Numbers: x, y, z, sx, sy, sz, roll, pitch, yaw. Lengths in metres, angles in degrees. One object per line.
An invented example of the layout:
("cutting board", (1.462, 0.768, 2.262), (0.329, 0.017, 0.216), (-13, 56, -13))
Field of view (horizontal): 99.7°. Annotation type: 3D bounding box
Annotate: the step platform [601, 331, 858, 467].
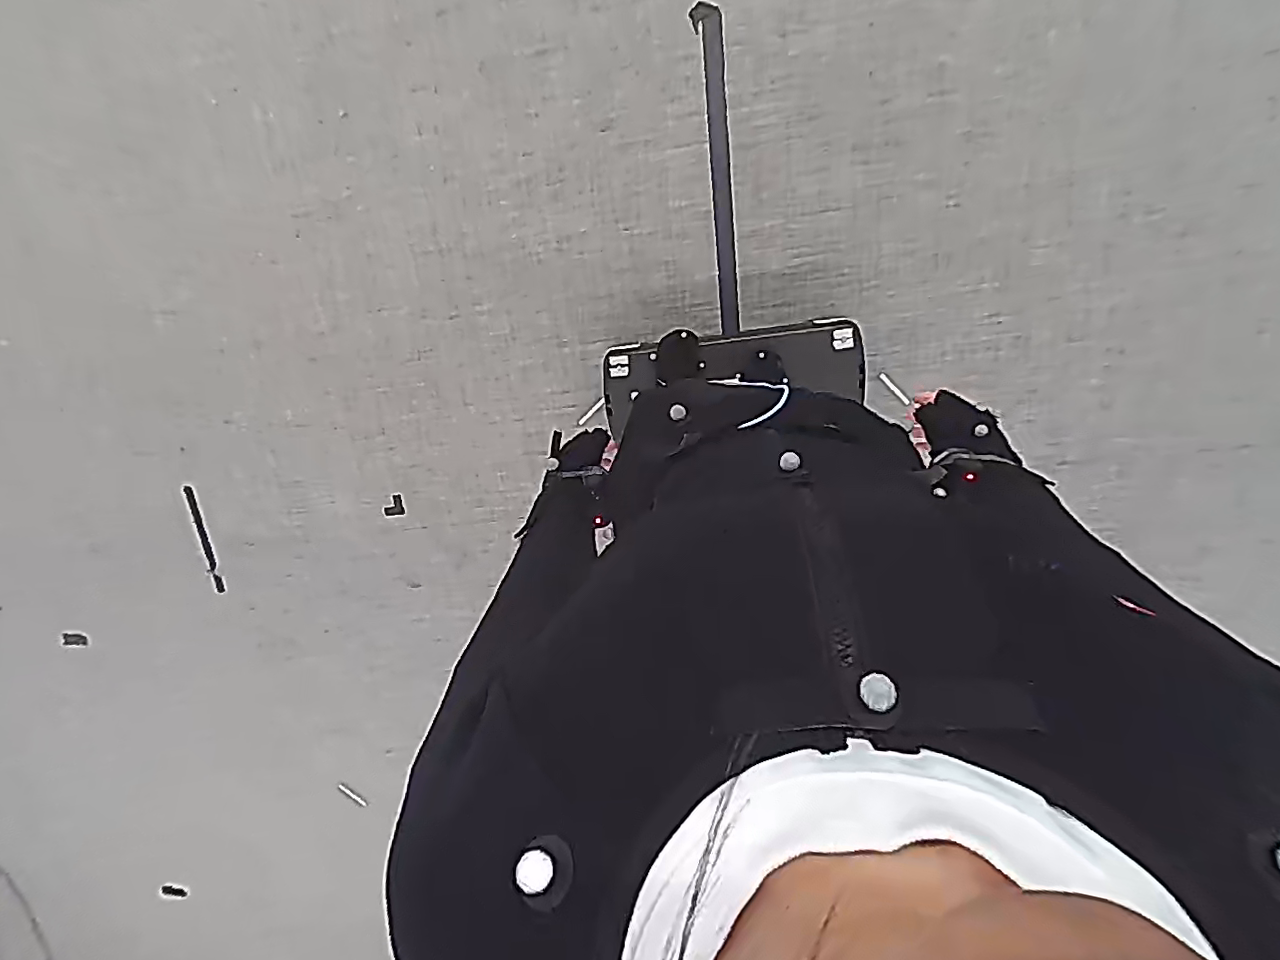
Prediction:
("step platform", (0.236, -0.221, 1.492), (0.684, 0.204, 0.286), (-7, 106, 6))
